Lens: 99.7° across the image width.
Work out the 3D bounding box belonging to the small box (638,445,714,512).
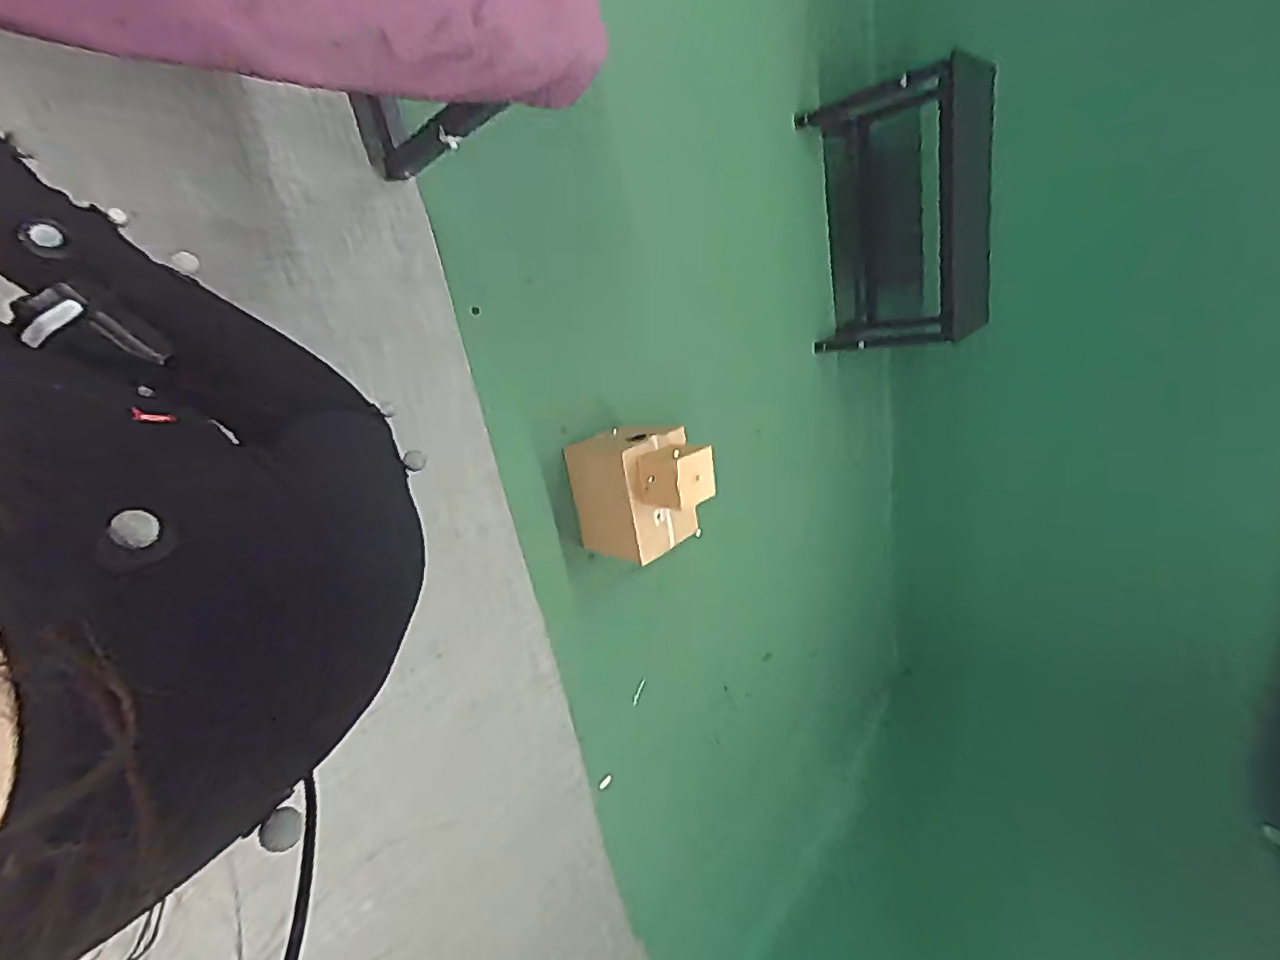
[{"bbox_3d":[0.117,-0.012,1.744,0.179,0.176,0.168,-23,112,-41],"label":"small box"}]

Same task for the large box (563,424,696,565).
[{"bbox_3d":[-0.034,0.035,1.946,0.320,0.320,0.408,-26,114,-40],"label":"large box"}]
